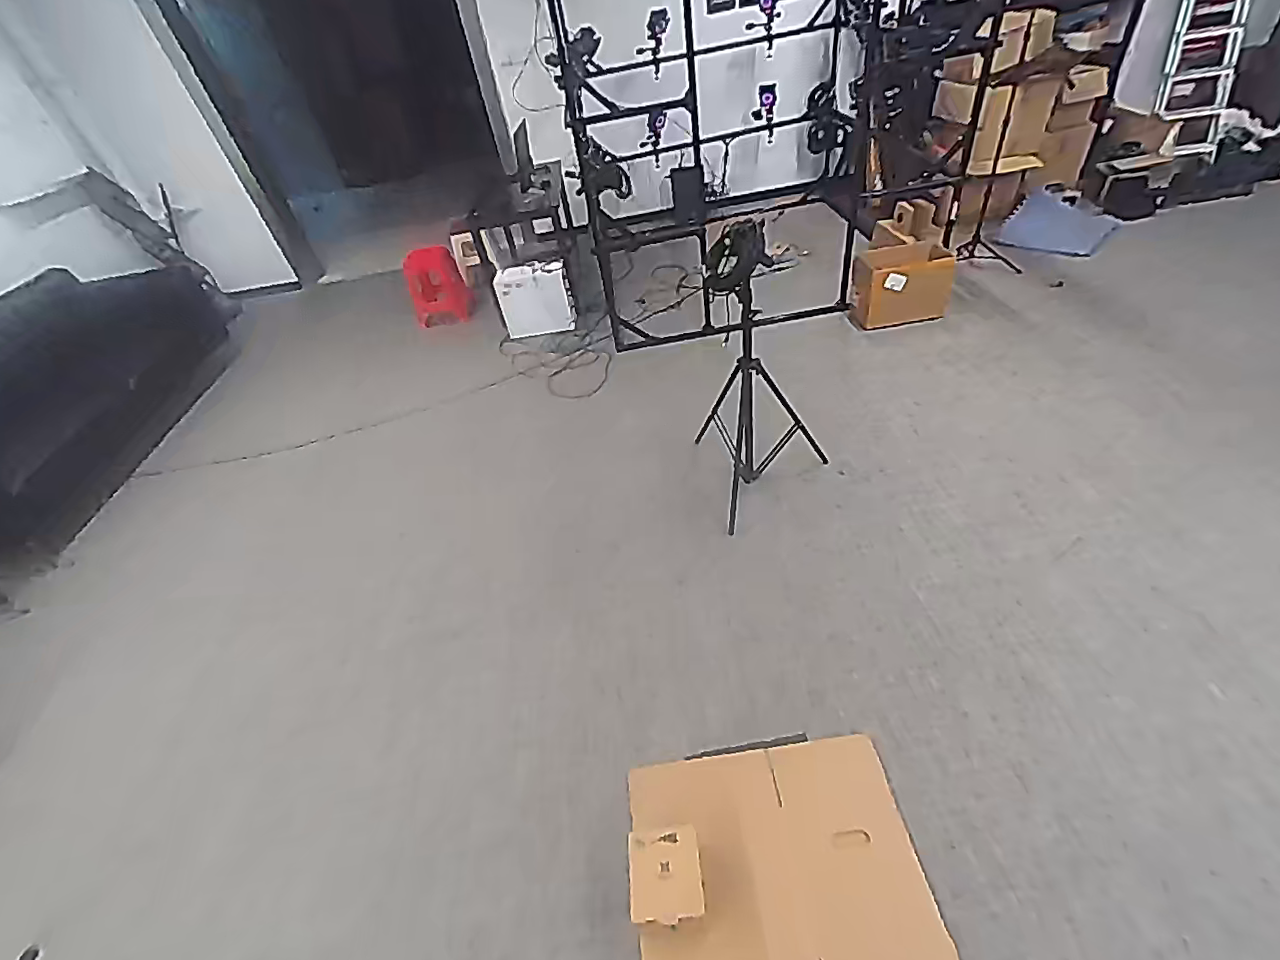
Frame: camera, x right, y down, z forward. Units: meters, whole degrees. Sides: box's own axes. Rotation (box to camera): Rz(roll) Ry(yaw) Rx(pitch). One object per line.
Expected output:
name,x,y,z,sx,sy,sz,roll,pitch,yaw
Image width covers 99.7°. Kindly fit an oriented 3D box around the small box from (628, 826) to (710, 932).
small box,0.068,0.942,1.272,0.168,0.176,0.179,-9,43,4
